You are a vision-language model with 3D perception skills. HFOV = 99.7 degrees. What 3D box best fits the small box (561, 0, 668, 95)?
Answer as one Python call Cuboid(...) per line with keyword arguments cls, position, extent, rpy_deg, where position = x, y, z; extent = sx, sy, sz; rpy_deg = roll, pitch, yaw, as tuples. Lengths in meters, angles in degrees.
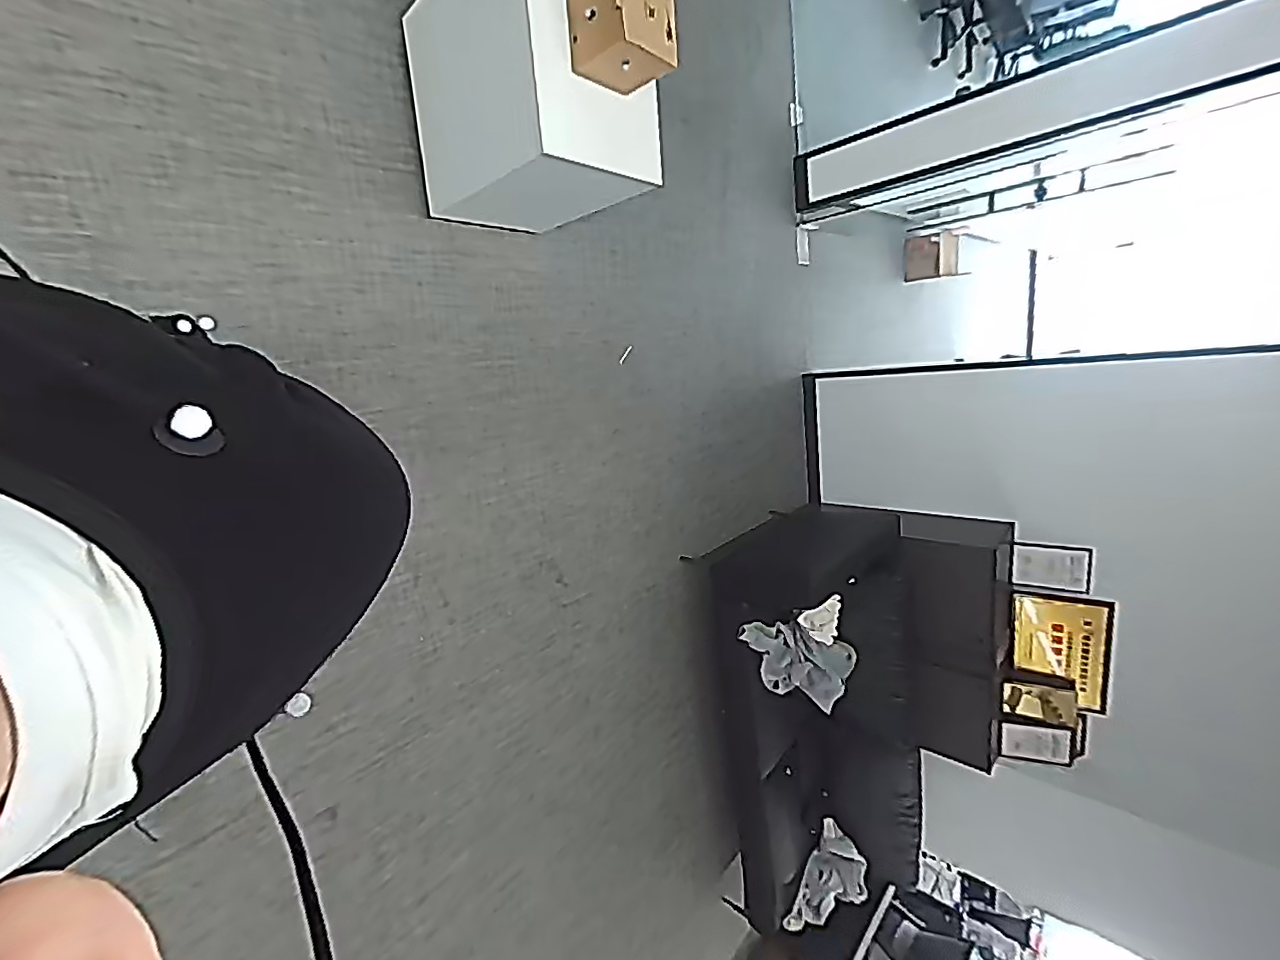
Cuboid(cls="small box", position=(-0.062, -1.006, 1.216), extent=(0.179, 0.176, 0.168), rpy_deg=(-19, 108, -45))
